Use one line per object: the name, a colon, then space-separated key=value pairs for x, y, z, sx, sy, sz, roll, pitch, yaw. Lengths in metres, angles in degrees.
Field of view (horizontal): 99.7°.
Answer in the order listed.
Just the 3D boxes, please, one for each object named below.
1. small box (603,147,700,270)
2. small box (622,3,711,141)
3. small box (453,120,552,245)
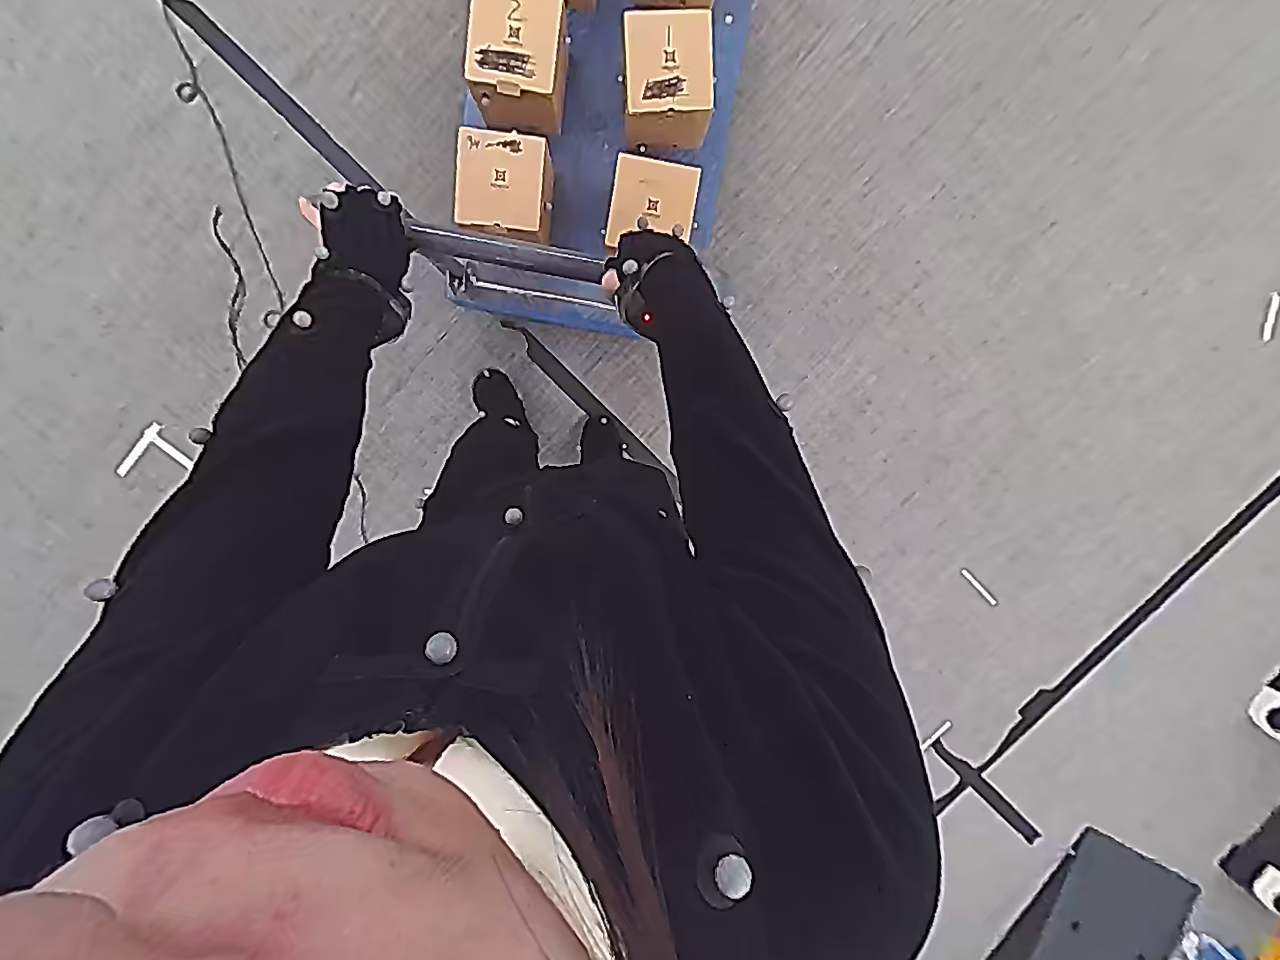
small box: x=0.020 y=-0.558 z=1.137 sx=0.168 sy=0.176 sz=0.179 roll=10 pitch=99 yaw=-5
small box: x=0.049 y=-0.811 z=1.095 sx=0.168 sy=0.176 sz=0.179 roll=-3 pitch=99 yaw=-3
small box: x=-0.275 y=-0.599 z=1.114 sx=0.168 sy=0.176 sz=0.179 roll=6 pitch=100 yaw=-5
